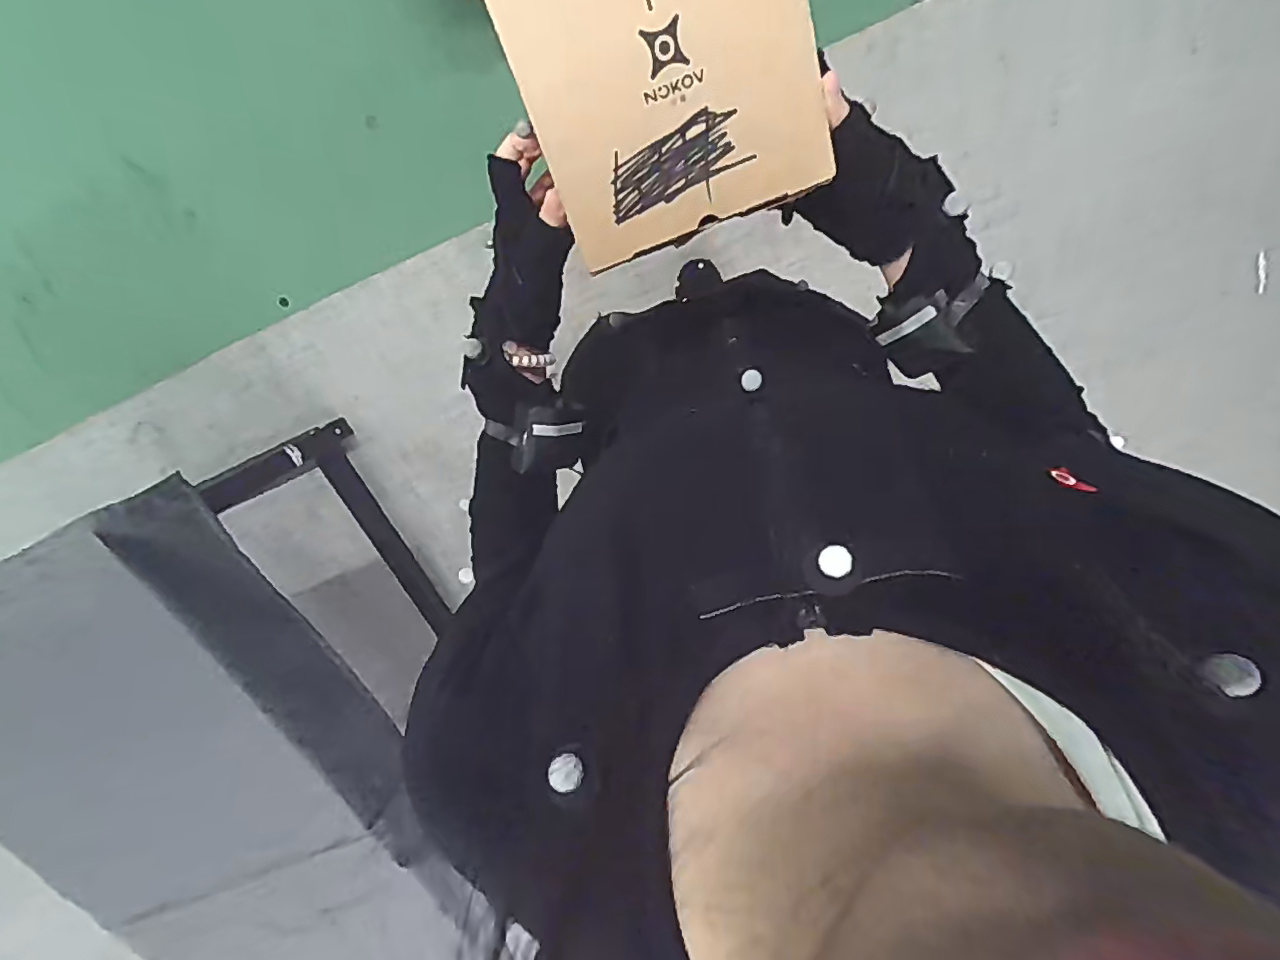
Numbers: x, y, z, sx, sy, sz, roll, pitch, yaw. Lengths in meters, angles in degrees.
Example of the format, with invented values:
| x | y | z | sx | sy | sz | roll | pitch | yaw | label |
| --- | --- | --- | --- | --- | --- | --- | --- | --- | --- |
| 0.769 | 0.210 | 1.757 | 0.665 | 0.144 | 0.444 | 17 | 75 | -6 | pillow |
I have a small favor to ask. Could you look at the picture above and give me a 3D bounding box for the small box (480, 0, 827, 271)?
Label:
| x | y | z | sx | sy | sz | roll | pitch | yaw | label |
| --- | --- | --- | --- | --- | --- | --- | --- | --- | --- |
| 0.006 | -0.268 | 0.368 | 0.168 | 0.176 | 0.179 | -20 | 118 | 5 | small box |
